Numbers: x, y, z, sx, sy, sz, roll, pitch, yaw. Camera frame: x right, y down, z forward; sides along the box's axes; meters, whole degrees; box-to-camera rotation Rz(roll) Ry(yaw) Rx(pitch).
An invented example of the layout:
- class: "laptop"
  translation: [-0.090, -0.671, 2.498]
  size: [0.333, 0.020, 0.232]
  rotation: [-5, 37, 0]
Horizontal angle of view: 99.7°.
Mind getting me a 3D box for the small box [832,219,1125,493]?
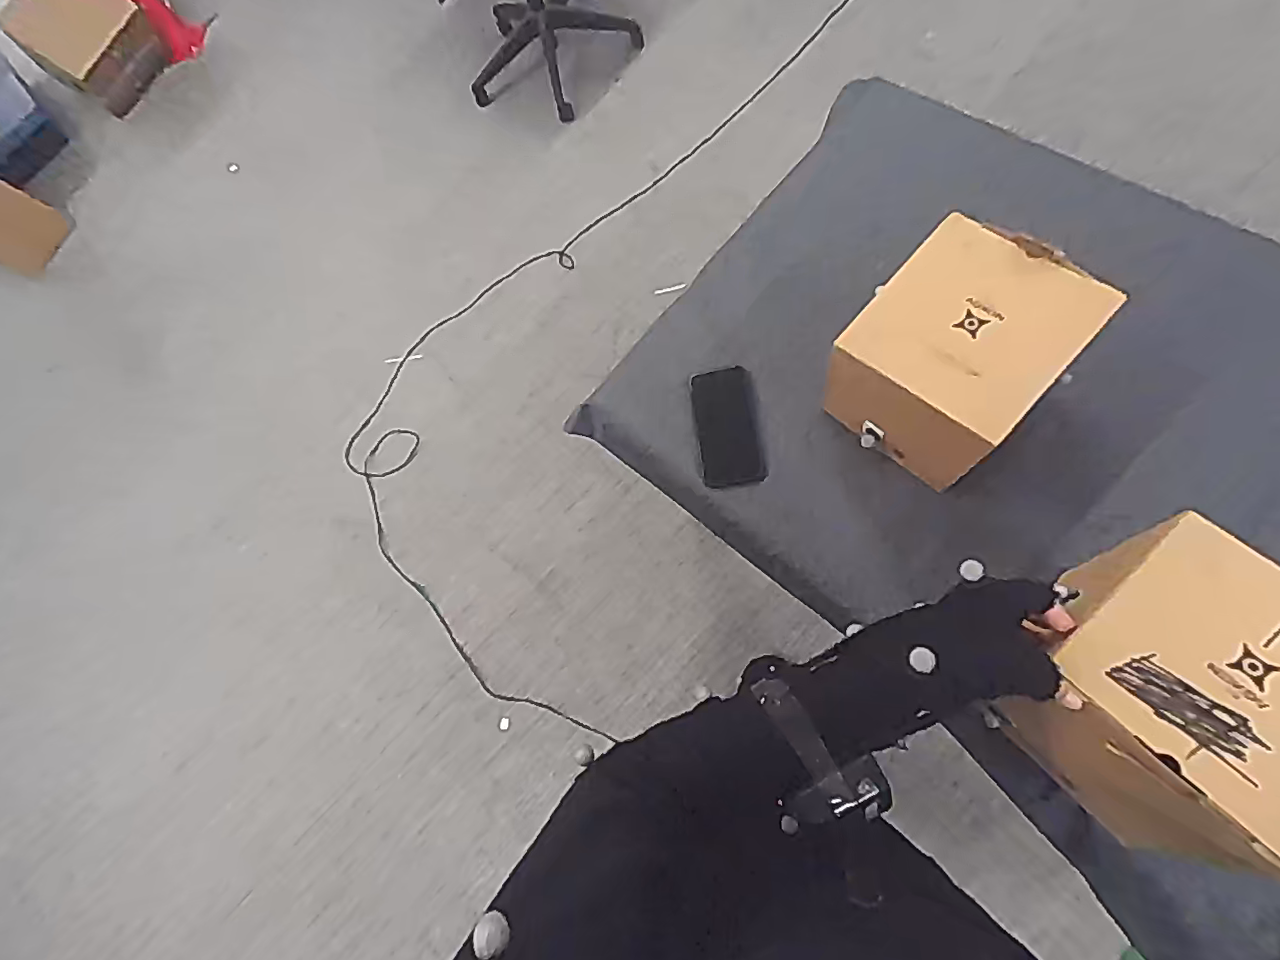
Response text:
- class: "small box"
  translation: [0.316, -0.114, 0.555]
  size: [0.168, 0.176, 0.179]
  rotation: [41, 88, 22]
